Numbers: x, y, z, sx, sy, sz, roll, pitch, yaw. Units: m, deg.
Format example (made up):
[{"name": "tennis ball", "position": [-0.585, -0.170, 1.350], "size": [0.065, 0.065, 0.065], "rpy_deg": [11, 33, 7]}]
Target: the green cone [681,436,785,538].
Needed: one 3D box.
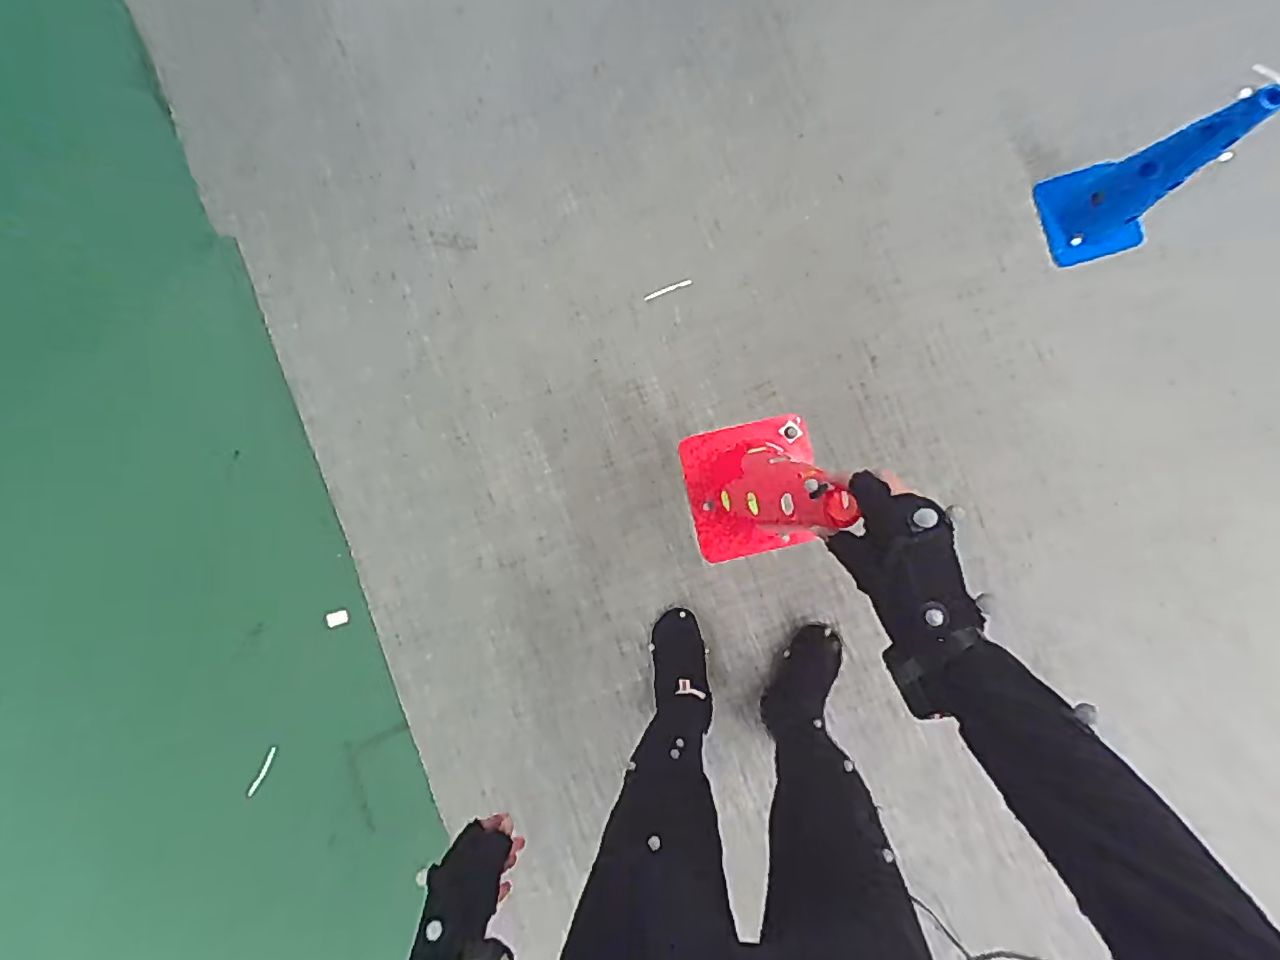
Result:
[{"name": "green cone", "position": [0.204, 0.007, 1.025], "size": [0.202, 0.368, 0.200], "rpy_deg": [-14, 87, 0]}]
